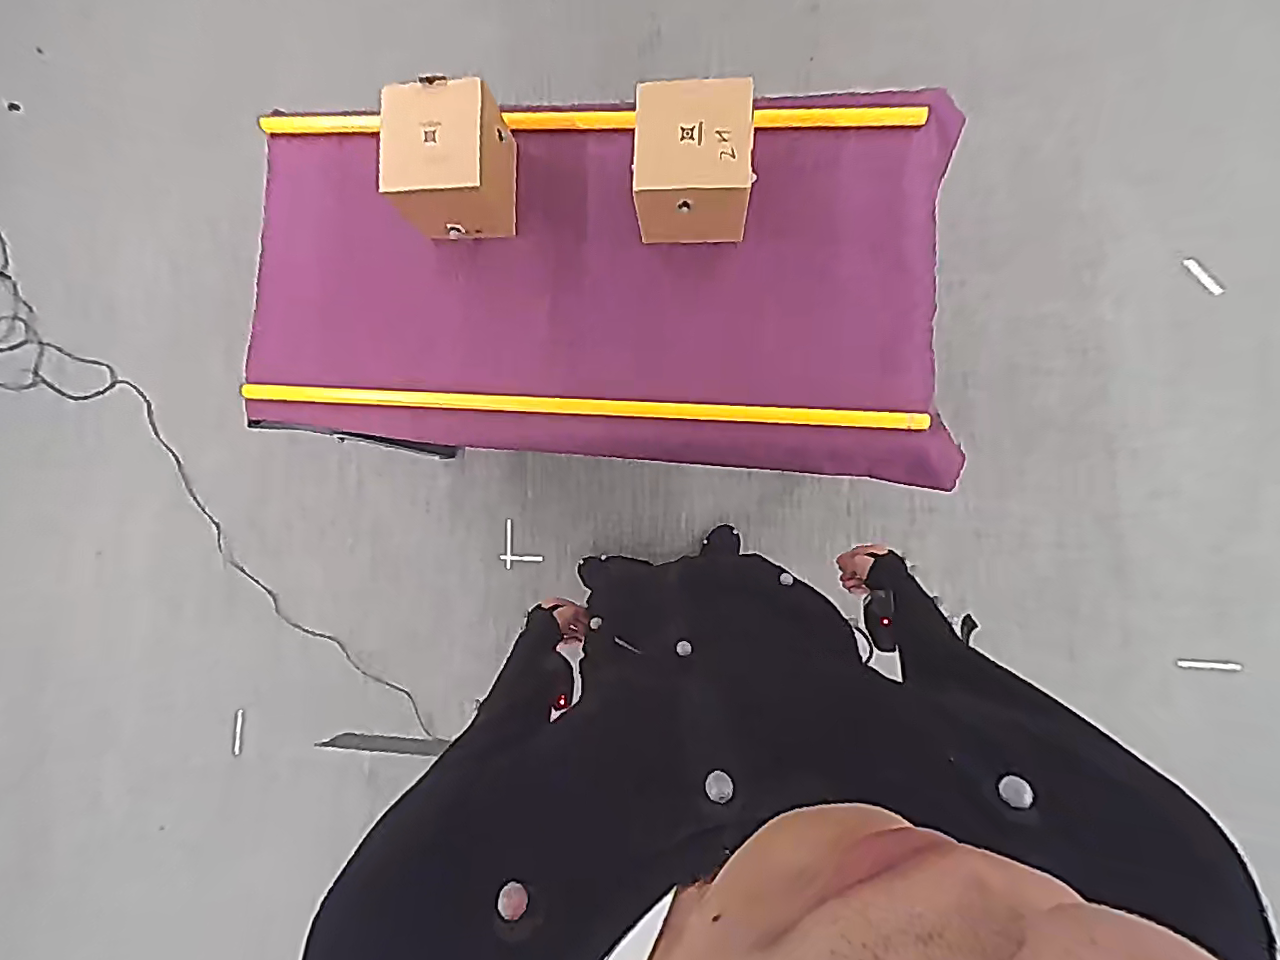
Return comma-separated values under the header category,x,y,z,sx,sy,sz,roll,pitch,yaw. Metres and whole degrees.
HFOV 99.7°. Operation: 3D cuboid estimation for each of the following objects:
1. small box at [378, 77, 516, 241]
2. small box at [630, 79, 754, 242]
category,x,y,z,sx,sy,sz,roll,pitch,yaw
small box,-0.314,-0.528,0.910,0.168,0.176,0.179,0,88,6
small box,0.084,-0.500,0.869,0.179,0.176,0.168,2,88,6
